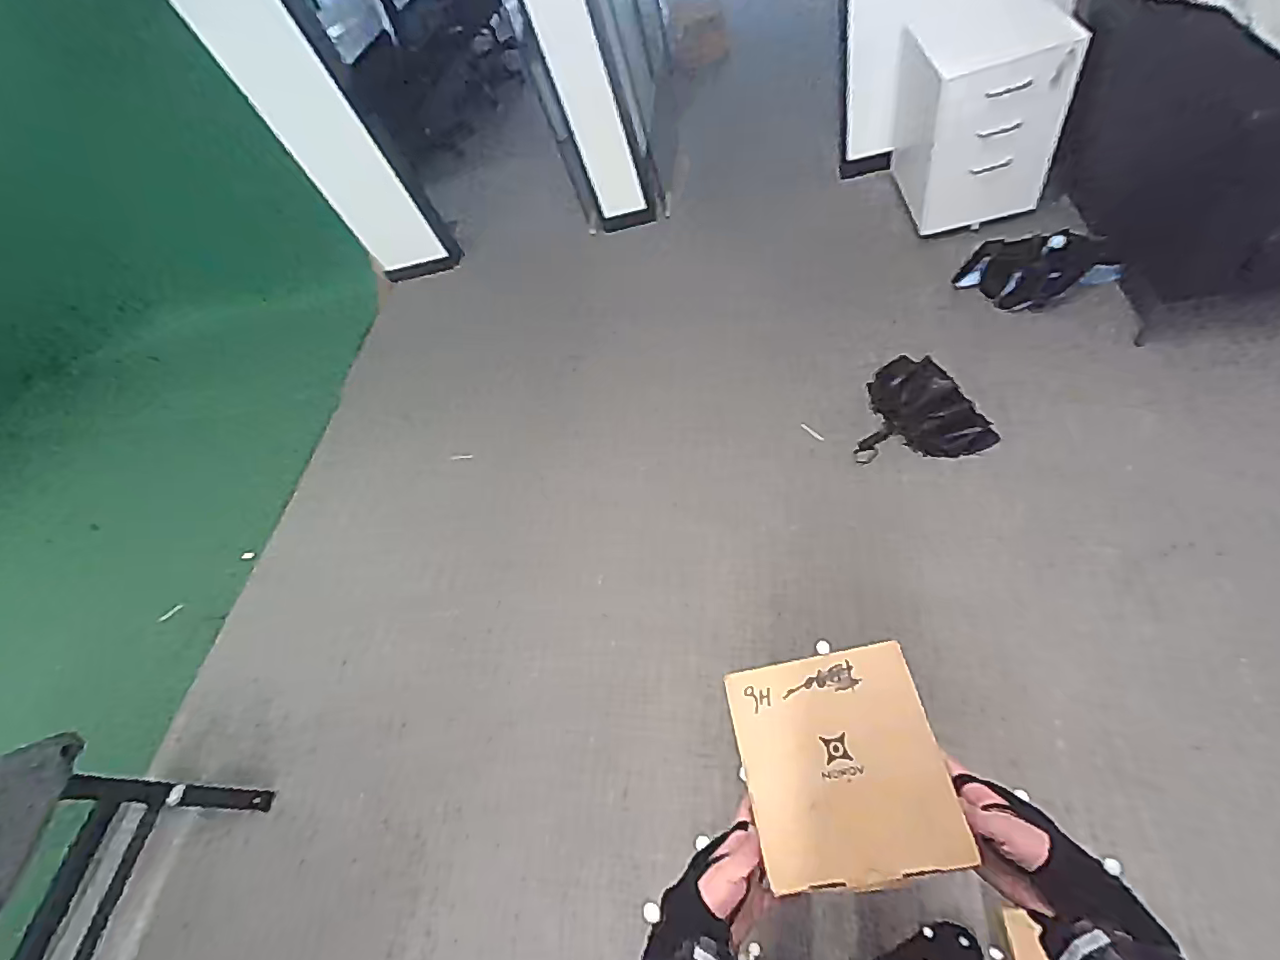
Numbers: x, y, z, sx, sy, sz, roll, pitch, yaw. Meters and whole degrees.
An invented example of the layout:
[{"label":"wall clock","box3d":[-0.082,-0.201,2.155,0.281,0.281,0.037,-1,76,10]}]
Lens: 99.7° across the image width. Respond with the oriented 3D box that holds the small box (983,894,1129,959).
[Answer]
[{"label":"small box","box3d":[0.763,0.867,0.988,0.179,0.176,0.168,-10,55,15]}]
